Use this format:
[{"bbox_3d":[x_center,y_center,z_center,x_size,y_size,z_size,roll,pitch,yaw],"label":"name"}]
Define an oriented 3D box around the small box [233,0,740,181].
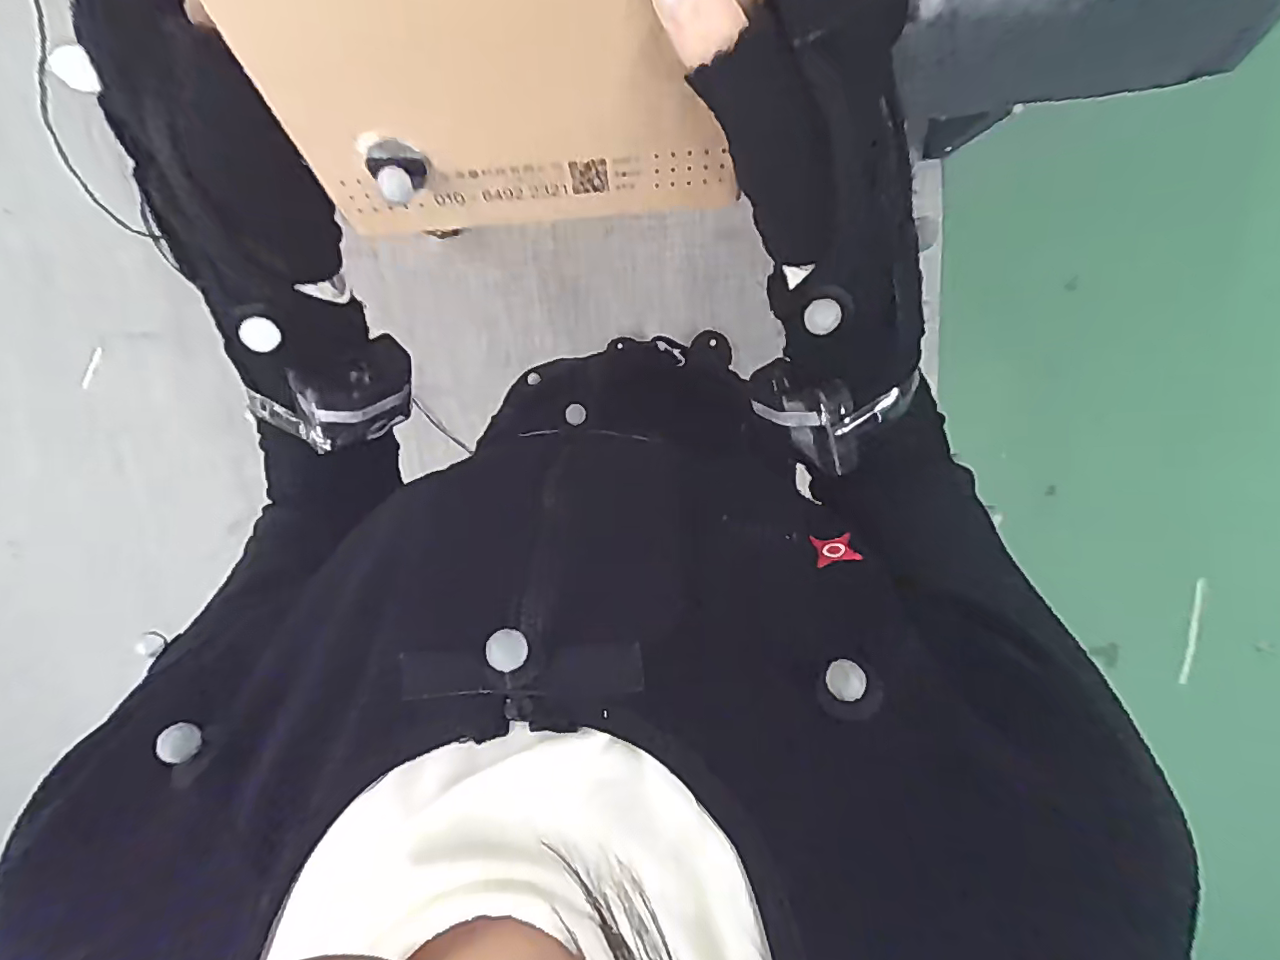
[{"bbox_3d":[-0.052,-0.231,0.188,0.168,0.176,0.179,-3,68,0],"label":"small box"}]
